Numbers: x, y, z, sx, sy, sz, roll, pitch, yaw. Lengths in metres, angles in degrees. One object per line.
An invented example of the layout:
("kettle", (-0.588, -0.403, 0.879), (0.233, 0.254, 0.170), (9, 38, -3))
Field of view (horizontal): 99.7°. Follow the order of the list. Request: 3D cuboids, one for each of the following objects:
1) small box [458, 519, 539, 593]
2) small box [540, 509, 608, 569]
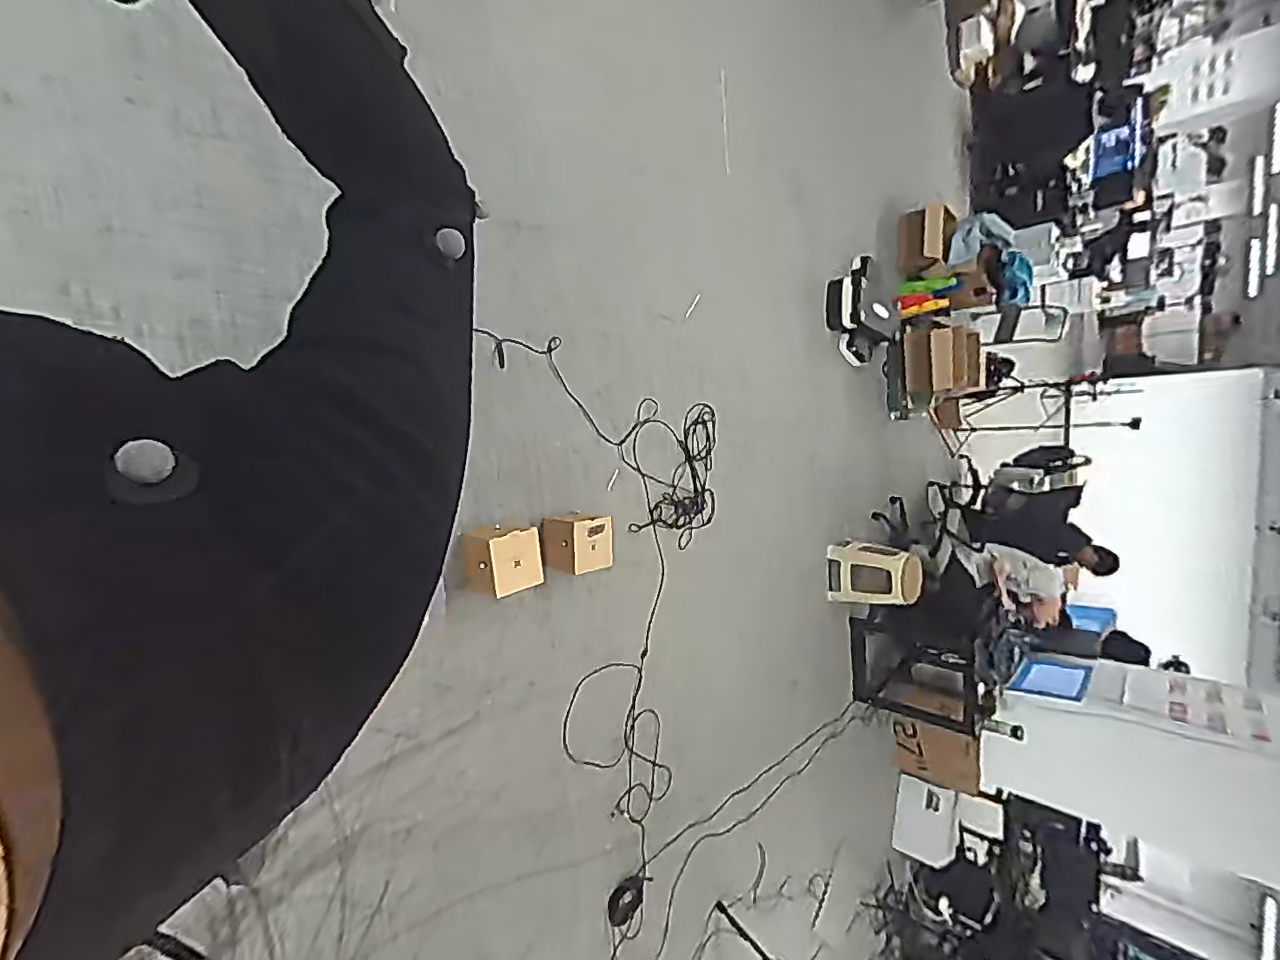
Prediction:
("small box", (-0.430, 0.222, 1.633), (0.168, 0.176, 0.179), (-13, 100, -45))
("small box", (-0.227, 0.194, 1.840), (0.168, 0.176, 0.179), (-6, 97, -46))
